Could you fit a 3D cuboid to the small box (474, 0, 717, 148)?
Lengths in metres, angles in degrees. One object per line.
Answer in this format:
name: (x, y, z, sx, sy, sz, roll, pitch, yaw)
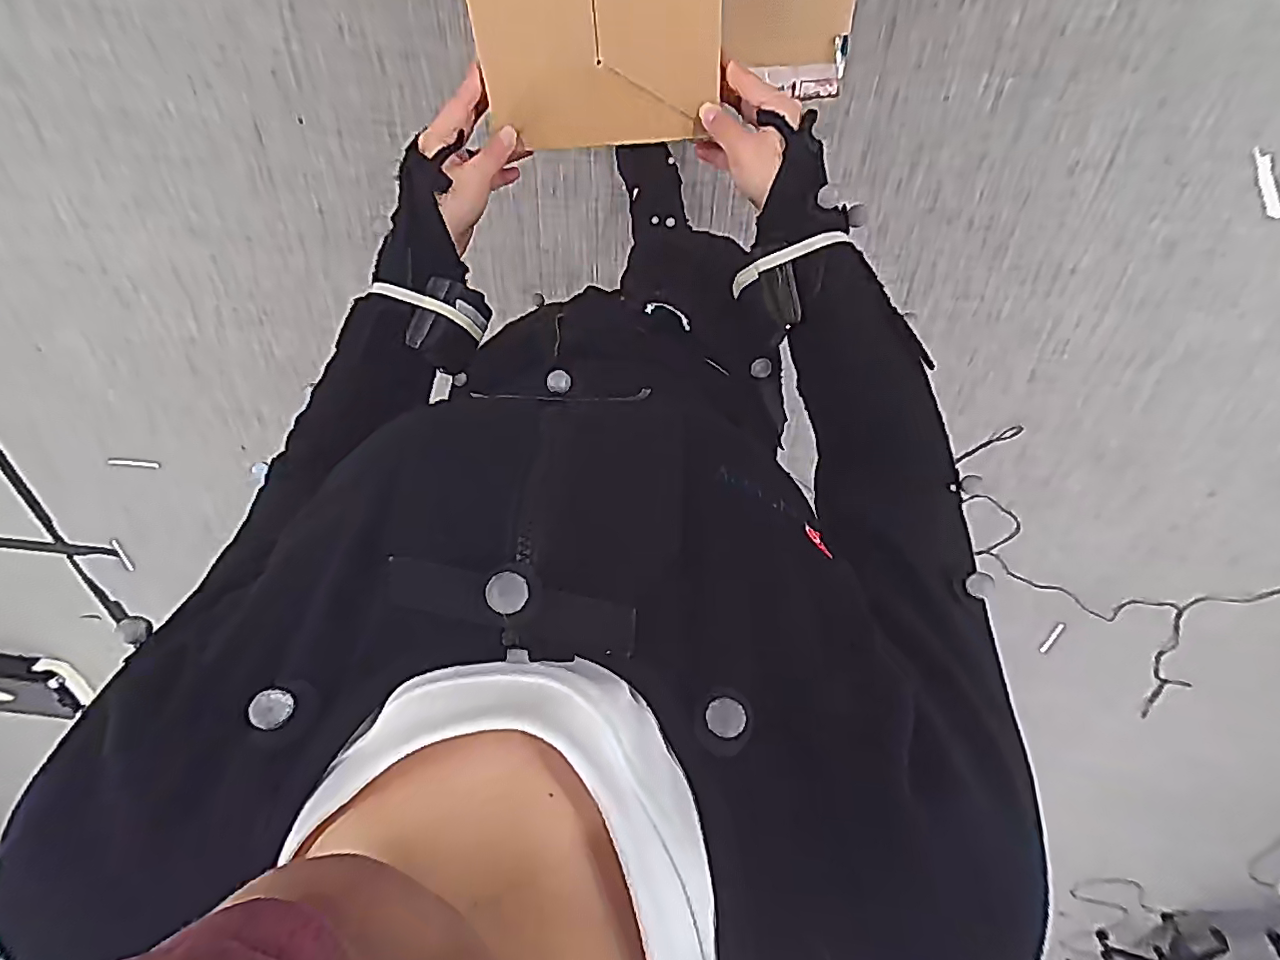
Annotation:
small box: (-0.032, -0.381, 0.435, 0.179, 0.176, 0.168, -1, 132, 5)
